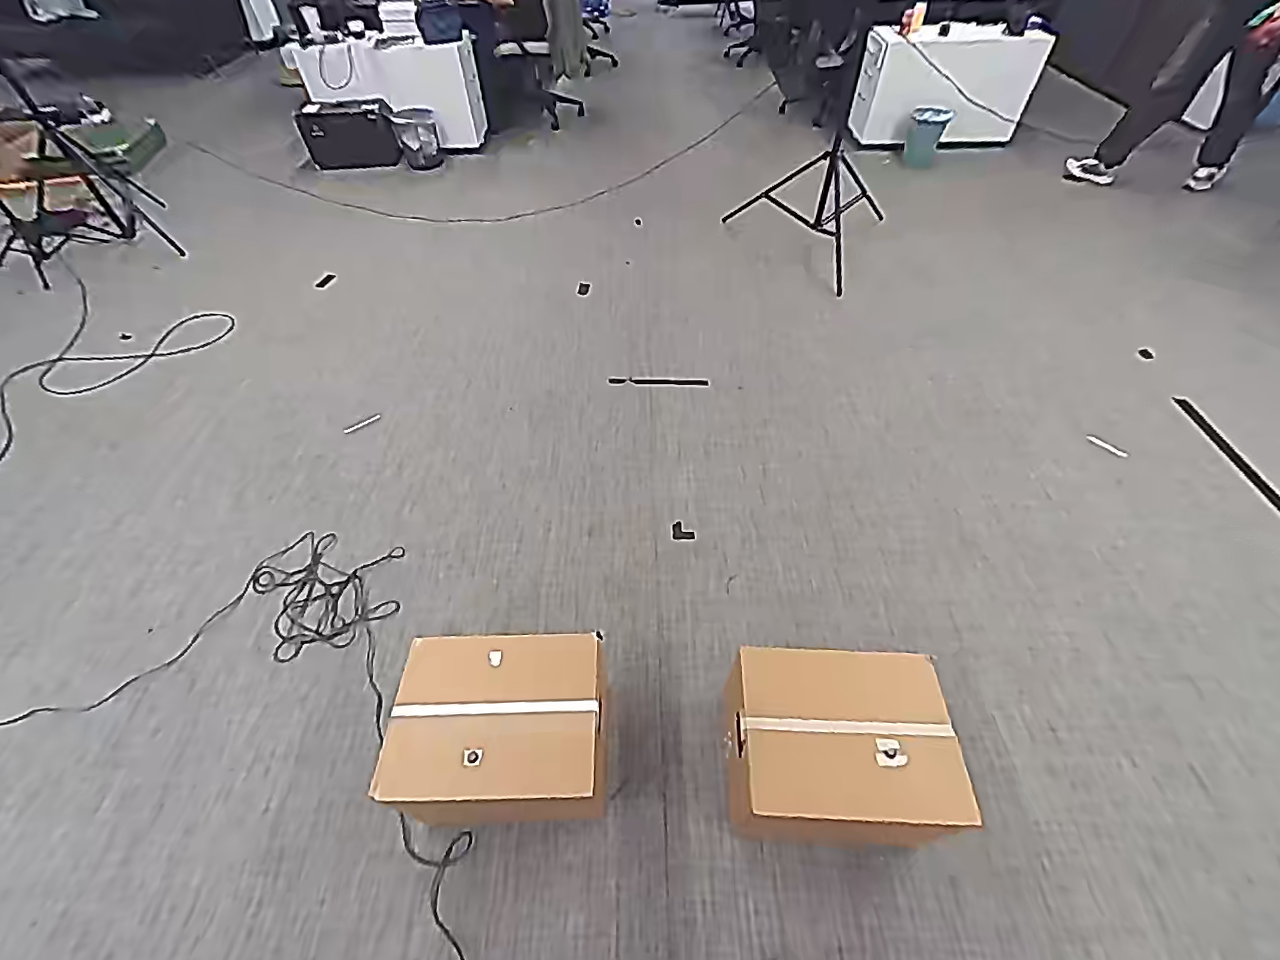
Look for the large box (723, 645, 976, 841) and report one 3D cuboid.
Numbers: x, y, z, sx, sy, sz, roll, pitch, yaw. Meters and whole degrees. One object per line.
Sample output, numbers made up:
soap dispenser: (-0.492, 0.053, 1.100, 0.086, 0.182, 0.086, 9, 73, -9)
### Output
large box: (0.408, 0.576, 1.177, 0.408, 0.320, 0.320, 2, 50, 2)
